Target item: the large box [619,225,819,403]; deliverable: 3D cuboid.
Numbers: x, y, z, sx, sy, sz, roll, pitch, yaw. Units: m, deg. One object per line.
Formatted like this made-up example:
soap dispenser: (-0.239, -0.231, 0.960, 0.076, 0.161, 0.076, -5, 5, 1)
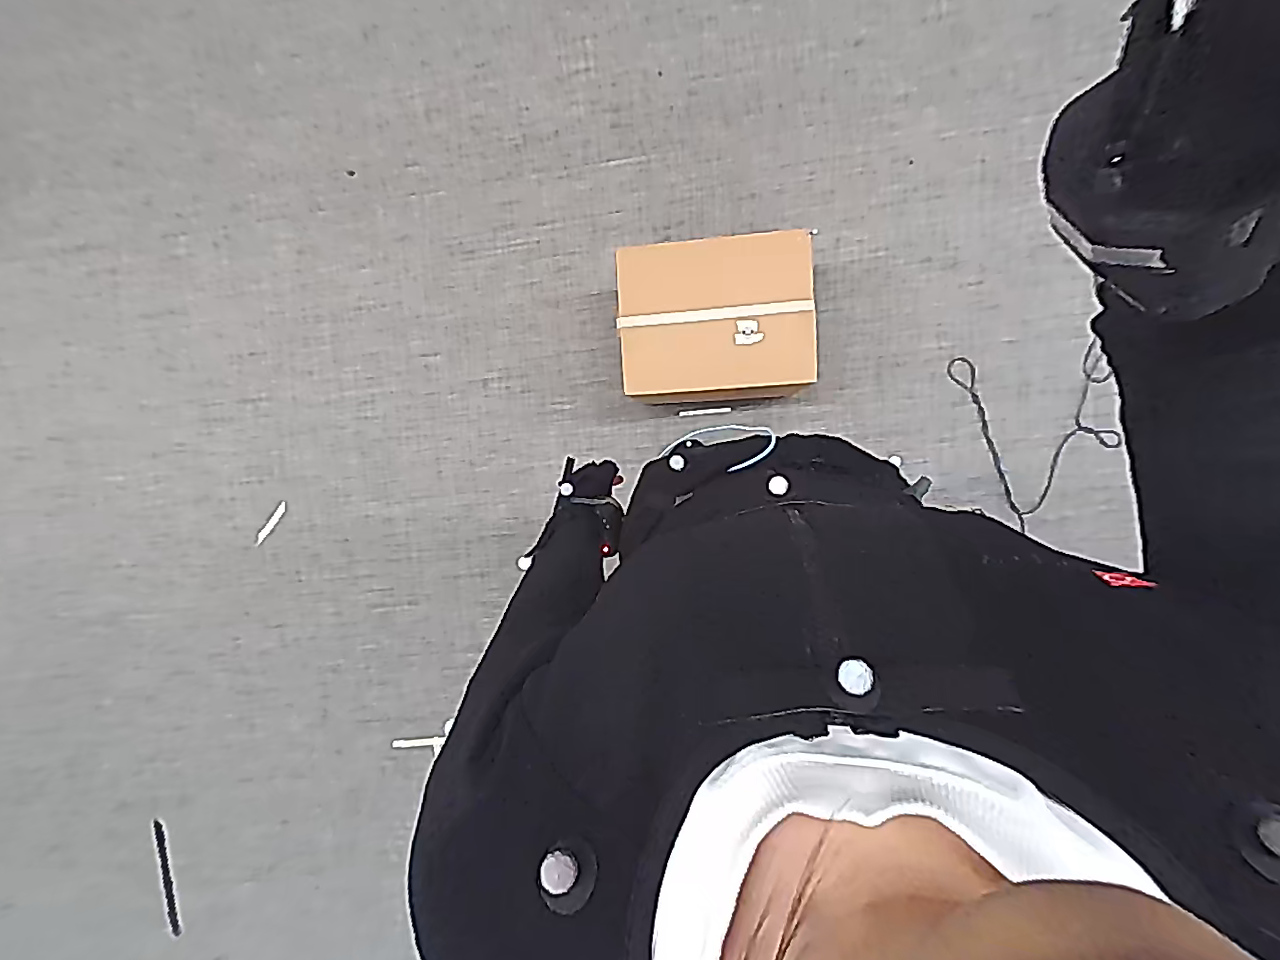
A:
large box: (0.177, -0.363, 1.276, 0.408, 0.320, 0.320, -3, 94, 6)
